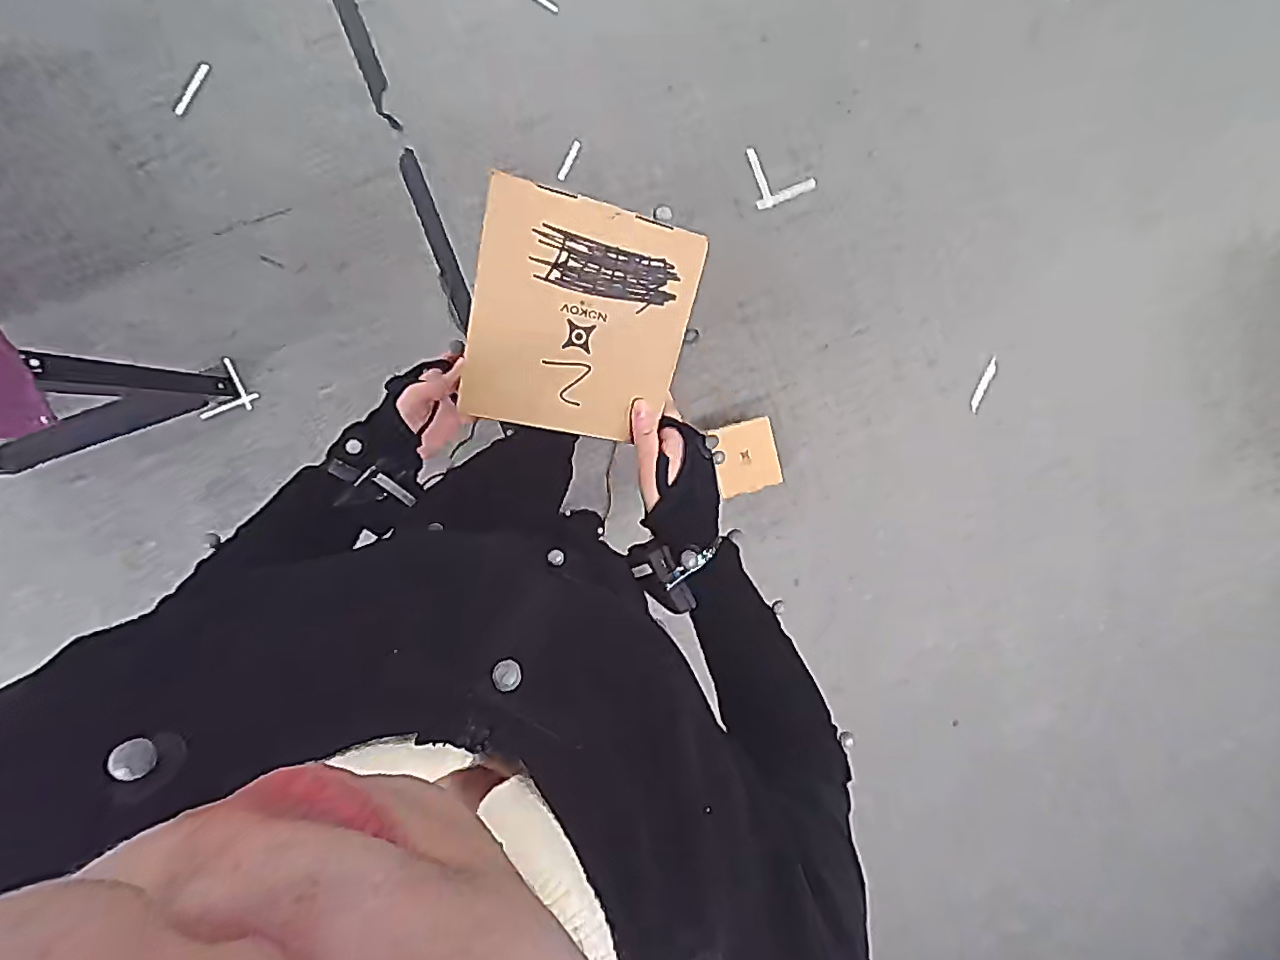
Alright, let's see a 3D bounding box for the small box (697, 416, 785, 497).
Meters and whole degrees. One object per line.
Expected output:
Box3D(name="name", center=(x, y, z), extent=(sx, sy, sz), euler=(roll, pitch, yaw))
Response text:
Box3D(name="small box", center=(0.261, -0.064, 1.438), extent=(0.168, 0.176, 0.179), euler=(-15, 97, -5))
